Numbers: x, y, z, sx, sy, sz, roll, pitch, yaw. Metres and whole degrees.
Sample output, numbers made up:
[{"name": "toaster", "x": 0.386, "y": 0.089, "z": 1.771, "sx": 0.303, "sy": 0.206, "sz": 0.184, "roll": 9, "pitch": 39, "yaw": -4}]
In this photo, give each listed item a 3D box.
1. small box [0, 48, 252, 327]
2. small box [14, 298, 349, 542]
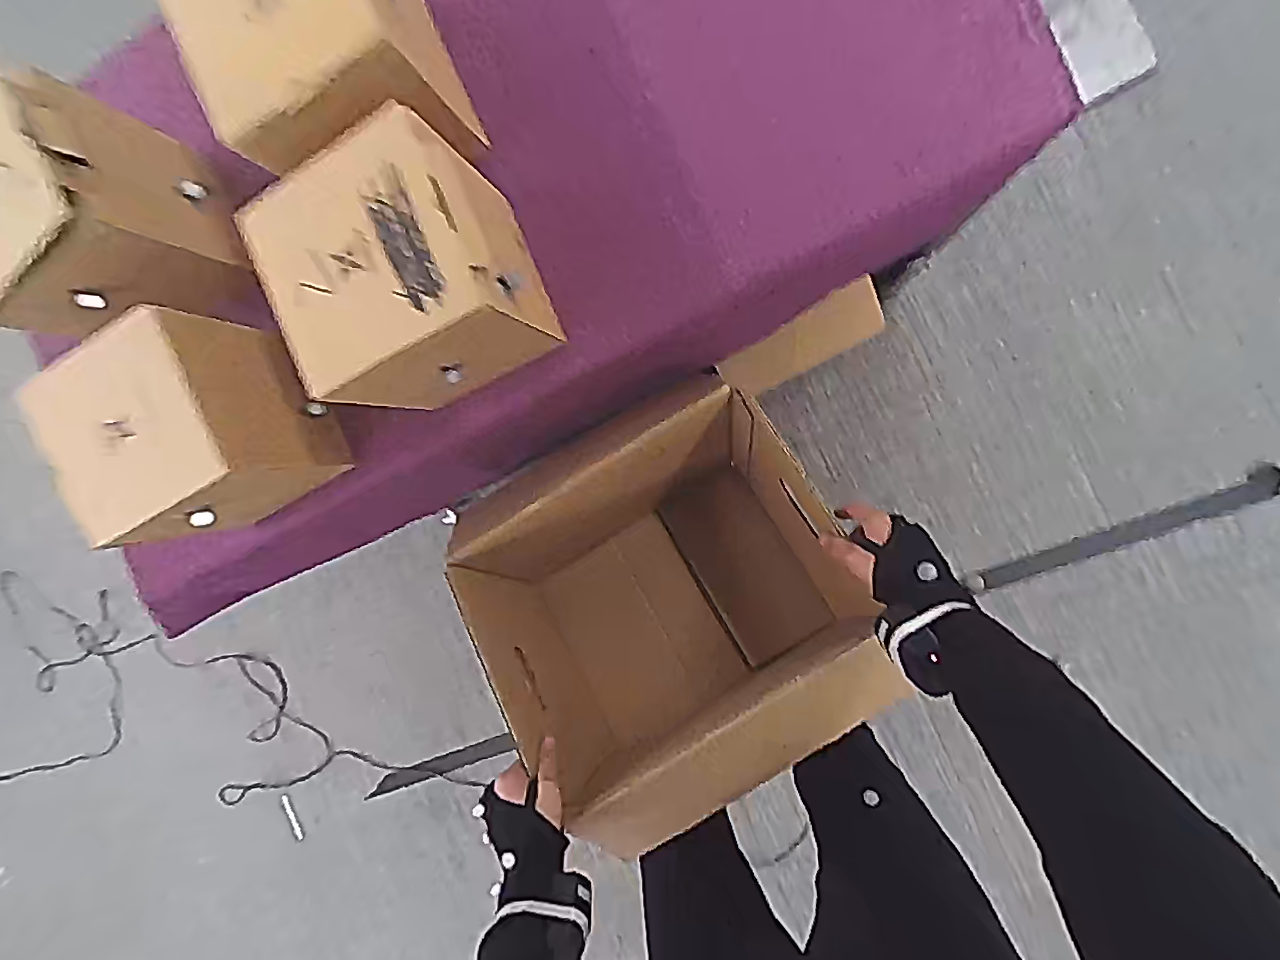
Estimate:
[{"name": "small box", "x": -0.560, "y": -0.268, "z": 0.557, "sx": 0.179, "sy": 0.176, "sz": 0.168, "roll": -27, "pitch": 90, "yaw": 12}, {"name": "small box", "x": -0.448, "y": -0.054, "z": 0.554, "sx": 0.179, "sy": 0.176, "sz": 0.168, "roll": -25, "pitch": 90, "yaw": 12}]
